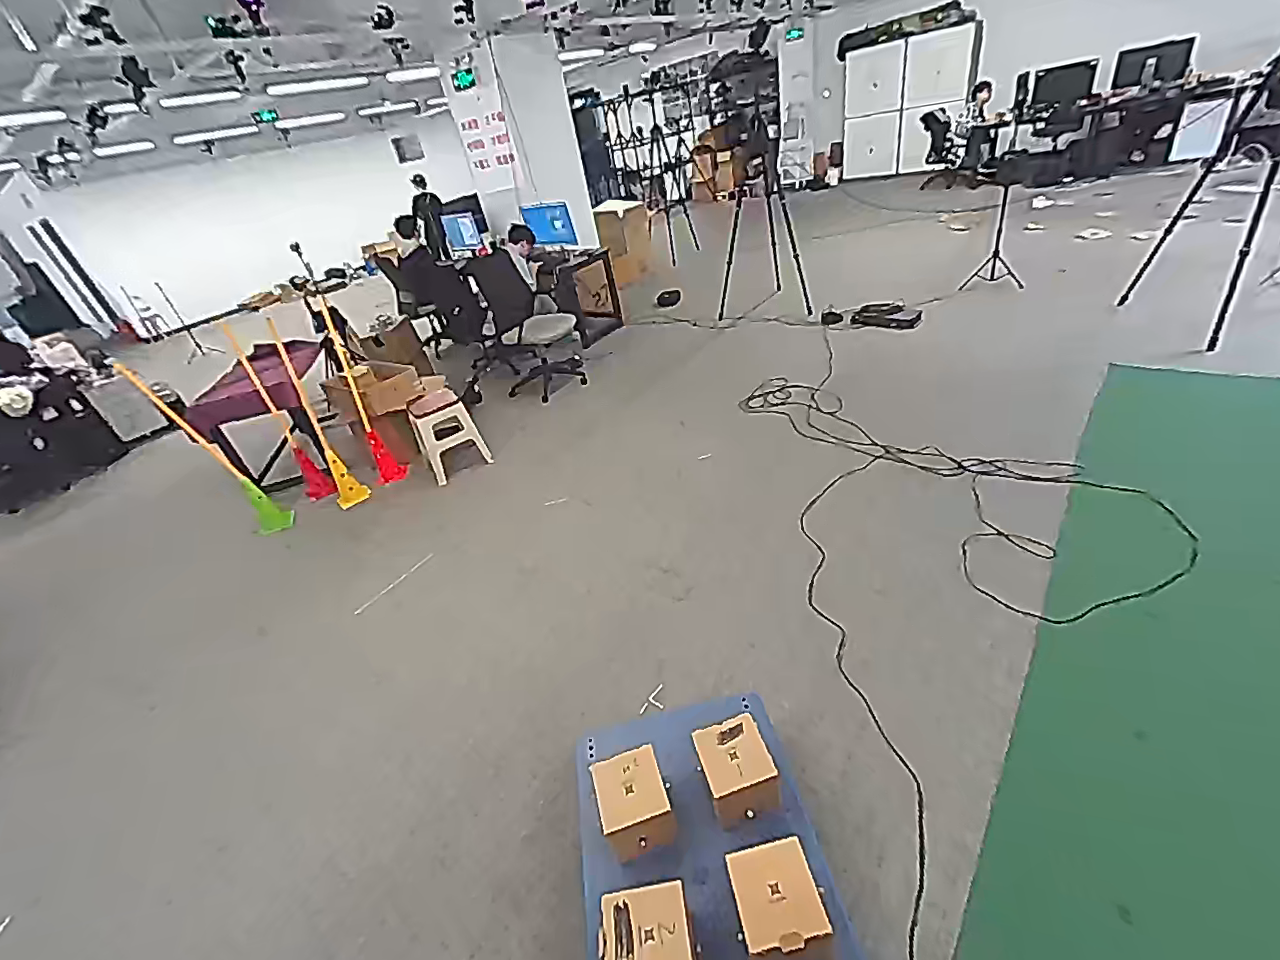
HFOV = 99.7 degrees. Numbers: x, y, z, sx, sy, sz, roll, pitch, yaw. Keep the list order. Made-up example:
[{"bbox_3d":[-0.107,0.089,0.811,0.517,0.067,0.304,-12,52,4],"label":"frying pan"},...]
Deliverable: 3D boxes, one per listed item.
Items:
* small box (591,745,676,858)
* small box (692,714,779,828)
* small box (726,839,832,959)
[{"bbox_3d":[-0.016,0.815,1.364,0.168,0.176,0.179,-16,33,-7],"label":"small box"},{"bbox_3d":[0.243,0.744,1.385,0.168,0.176,0.179,-17,35,-6],"label":"small box"},{"bbox_3d":[0.286,0.904,1.139,0.168,0.176,0.179,-14,34,-2],"label":"small box"}]
